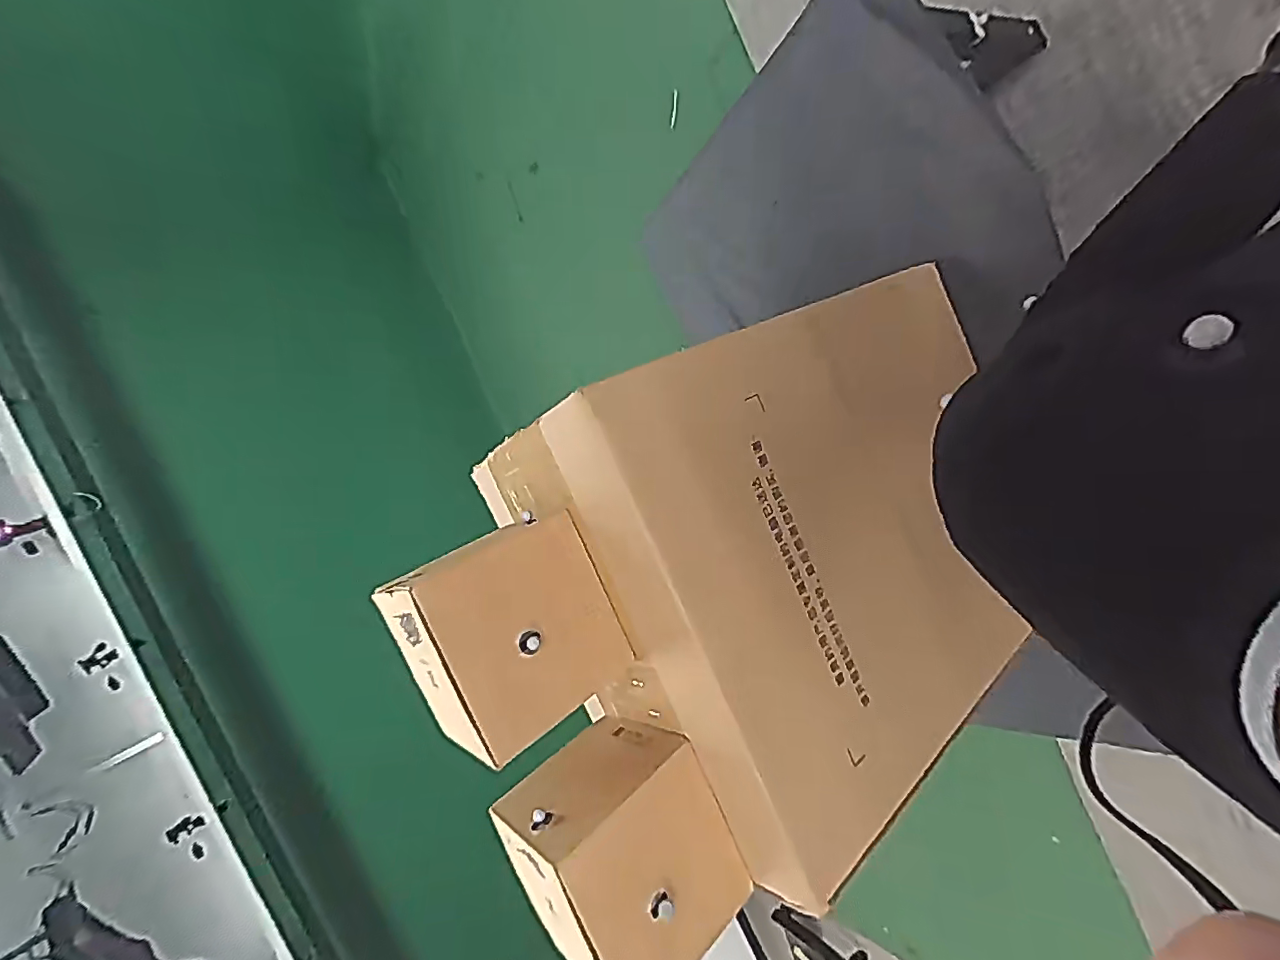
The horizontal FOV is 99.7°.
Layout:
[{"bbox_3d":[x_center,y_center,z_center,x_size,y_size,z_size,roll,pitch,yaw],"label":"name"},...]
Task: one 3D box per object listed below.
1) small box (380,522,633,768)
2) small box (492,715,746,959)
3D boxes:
[{"bbox_3d":[-0.139,0.155,0.569,0.168,0.176,0.179,-18,97,53],"label":"small box"},{"bbox_3d":[-0.020,0.383,0.565,0.168,0.176,0.179,-20,96,54],"label":"small box"}]
